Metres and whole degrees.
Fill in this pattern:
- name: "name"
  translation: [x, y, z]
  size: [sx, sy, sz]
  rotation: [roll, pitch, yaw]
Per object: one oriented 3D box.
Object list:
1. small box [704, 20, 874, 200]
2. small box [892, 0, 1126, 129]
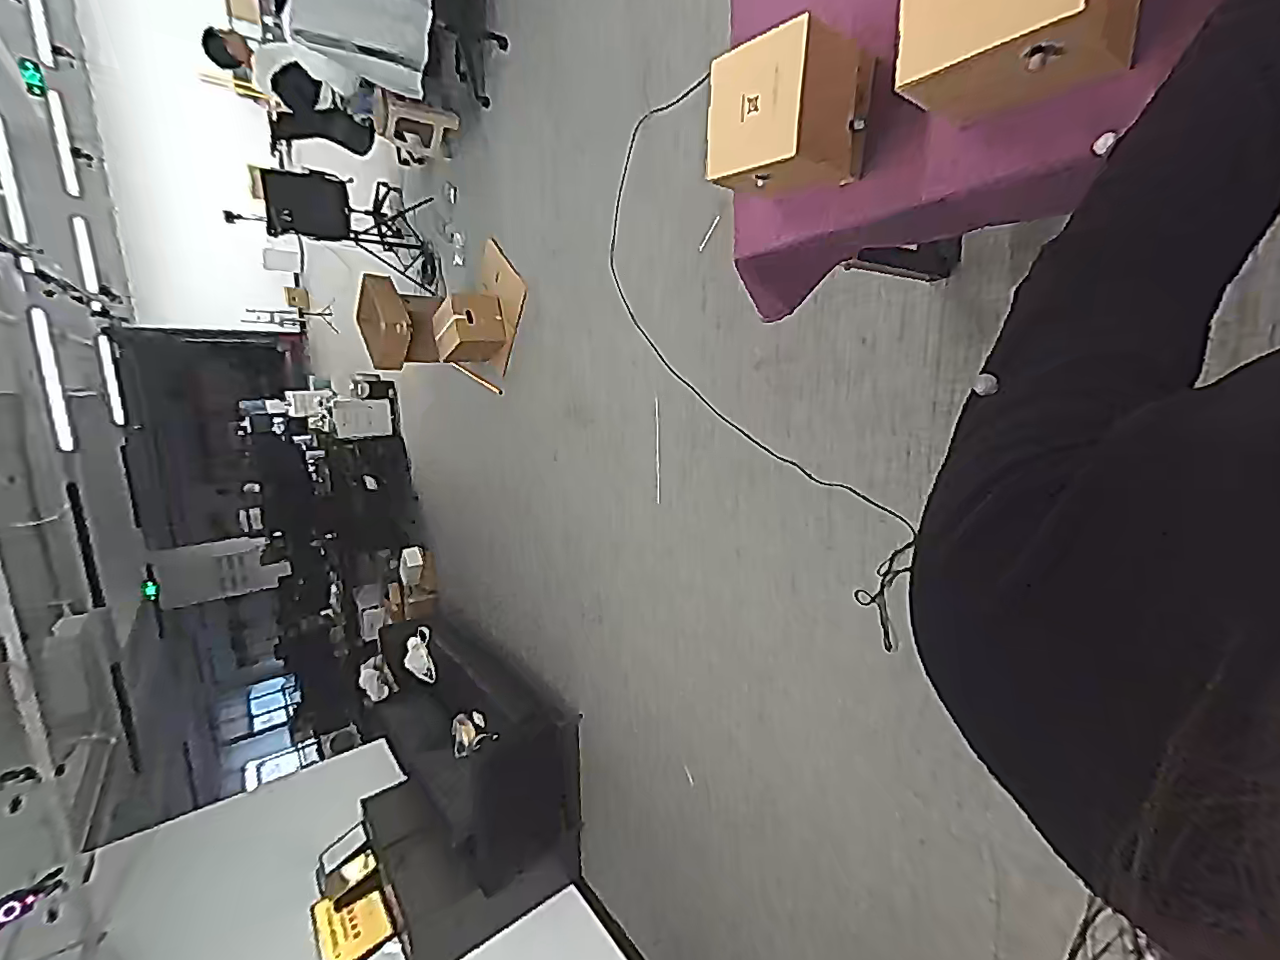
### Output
- name: "small box"
  translation: [0.223, -0.542, 0.825]
  size: [0.179, 0.176, 0.168]
  rotation: [20, 113, 49]
- name: "small box"
  translation: [0.407, -0.518, 0.588]
  size: [0.179, 0.176, 0.168]
  rotation: [14, 107, 51]
